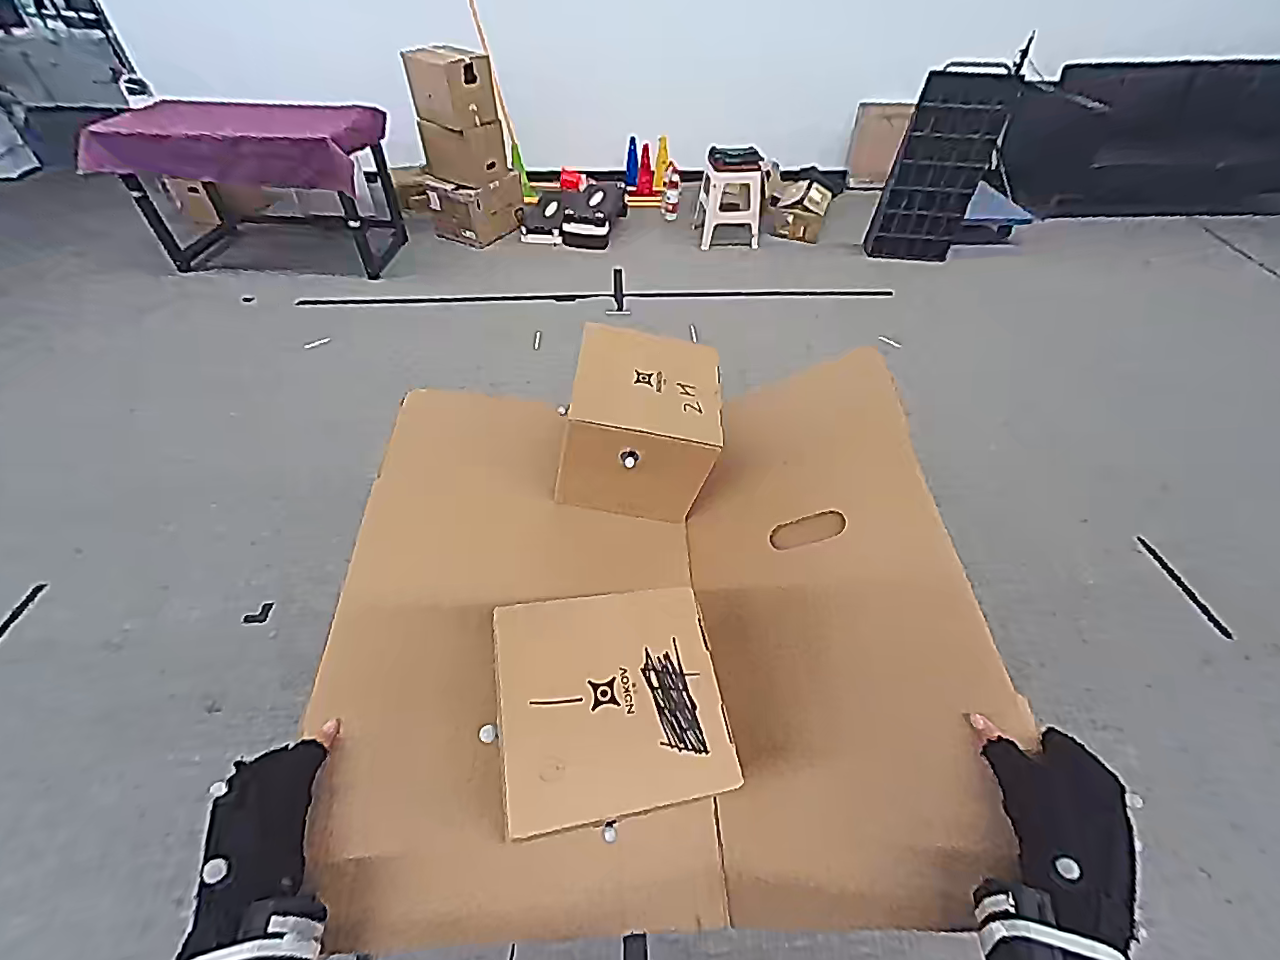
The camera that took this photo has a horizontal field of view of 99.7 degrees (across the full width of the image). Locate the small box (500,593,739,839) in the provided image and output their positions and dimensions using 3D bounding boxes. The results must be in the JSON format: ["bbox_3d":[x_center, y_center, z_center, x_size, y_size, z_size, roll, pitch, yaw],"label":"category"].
[{"bbox_3d":[-0.036,0.218,0.500,0.179,0.176,0.168,-3,56,-16],"label":"small box"}]

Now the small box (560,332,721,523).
[{"bbox_3d":[-0.004,-0.061,0.707,0.179,0.176,0.168,11,54,-8],"label":"small box"}]
